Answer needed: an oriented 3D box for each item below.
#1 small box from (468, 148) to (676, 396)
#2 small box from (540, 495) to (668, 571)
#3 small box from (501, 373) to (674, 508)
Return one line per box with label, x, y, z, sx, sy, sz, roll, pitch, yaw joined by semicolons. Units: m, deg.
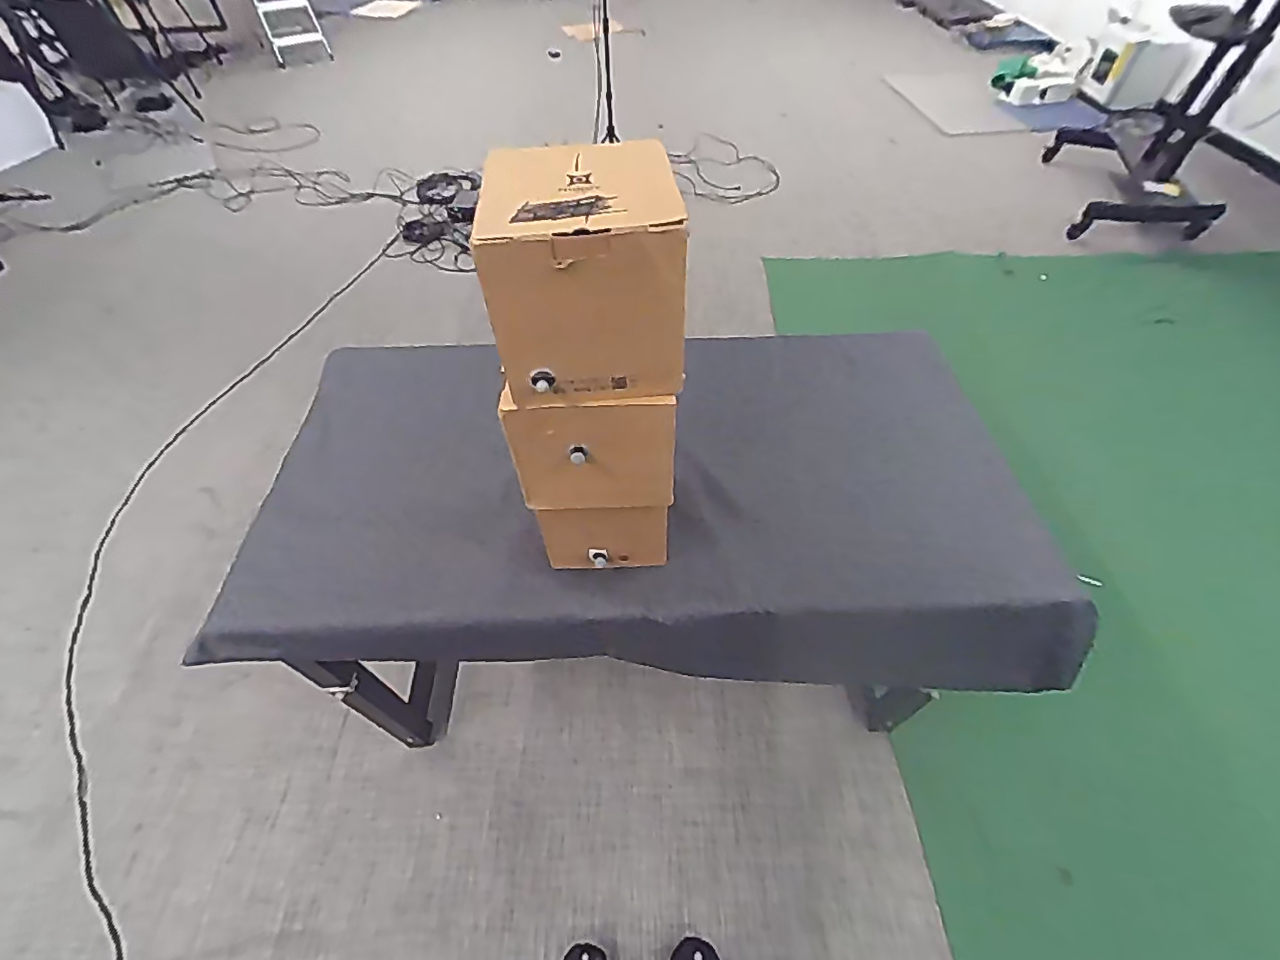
small box;-0.054;-0.195;0.526;0.168;0.176;0.179;-5;49;-2
small box;-0.050;0.012;0.781;0.168;0.176;0.179;-4;51;0
small box;-0.054;-0.079;0.648;0.179;0.176;0.168;-4;48;-2
